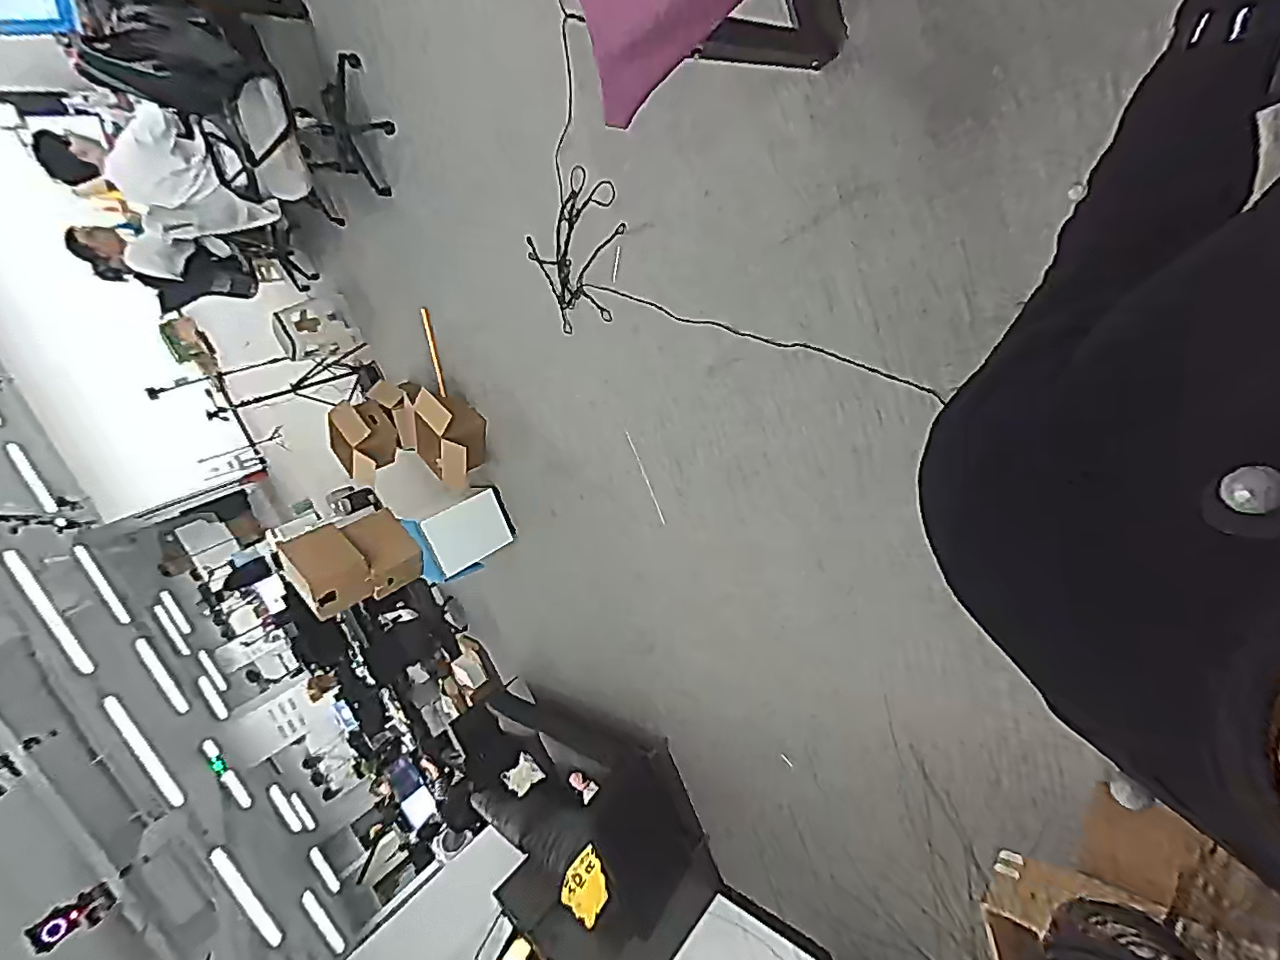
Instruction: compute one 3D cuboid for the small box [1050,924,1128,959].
[{"bbox_3d":[1.063,1.204,1.258,0.168,0.176,0.179,3,115,49],"label":"small box"}]
